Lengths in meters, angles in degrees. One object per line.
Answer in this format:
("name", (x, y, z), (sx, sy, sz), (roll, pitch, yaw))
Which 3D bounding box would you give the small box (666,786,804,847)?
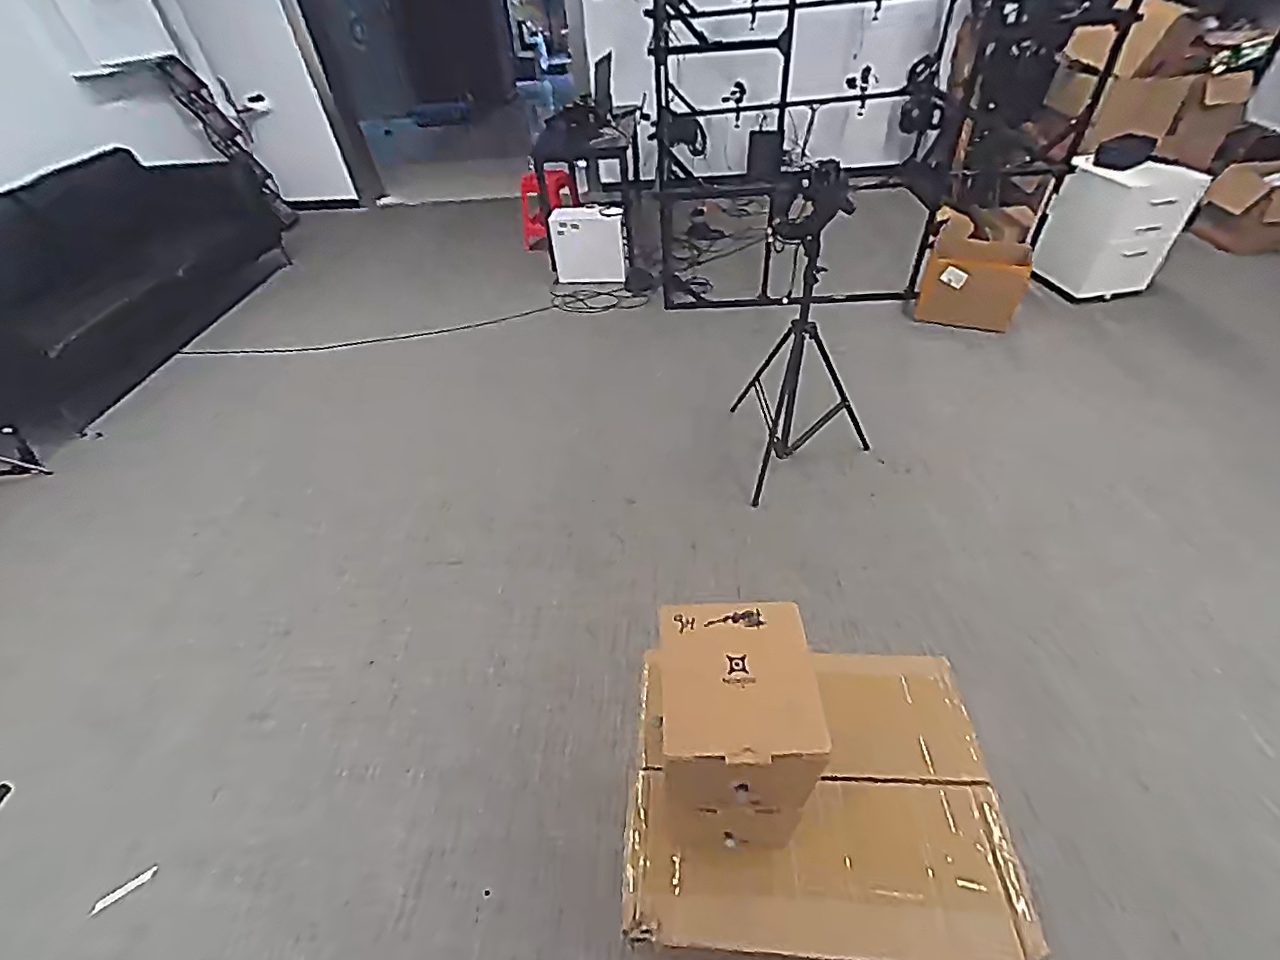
("small box", (0.120, 0.387, 0.755), (0.168, 0.176, 0.179), (-1, 44, 4))

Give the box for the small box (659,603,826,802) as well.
("small box", (0.108, 0.268, 0.643), (0.168, 0.176, 0.179), (-2, 45, 2))
